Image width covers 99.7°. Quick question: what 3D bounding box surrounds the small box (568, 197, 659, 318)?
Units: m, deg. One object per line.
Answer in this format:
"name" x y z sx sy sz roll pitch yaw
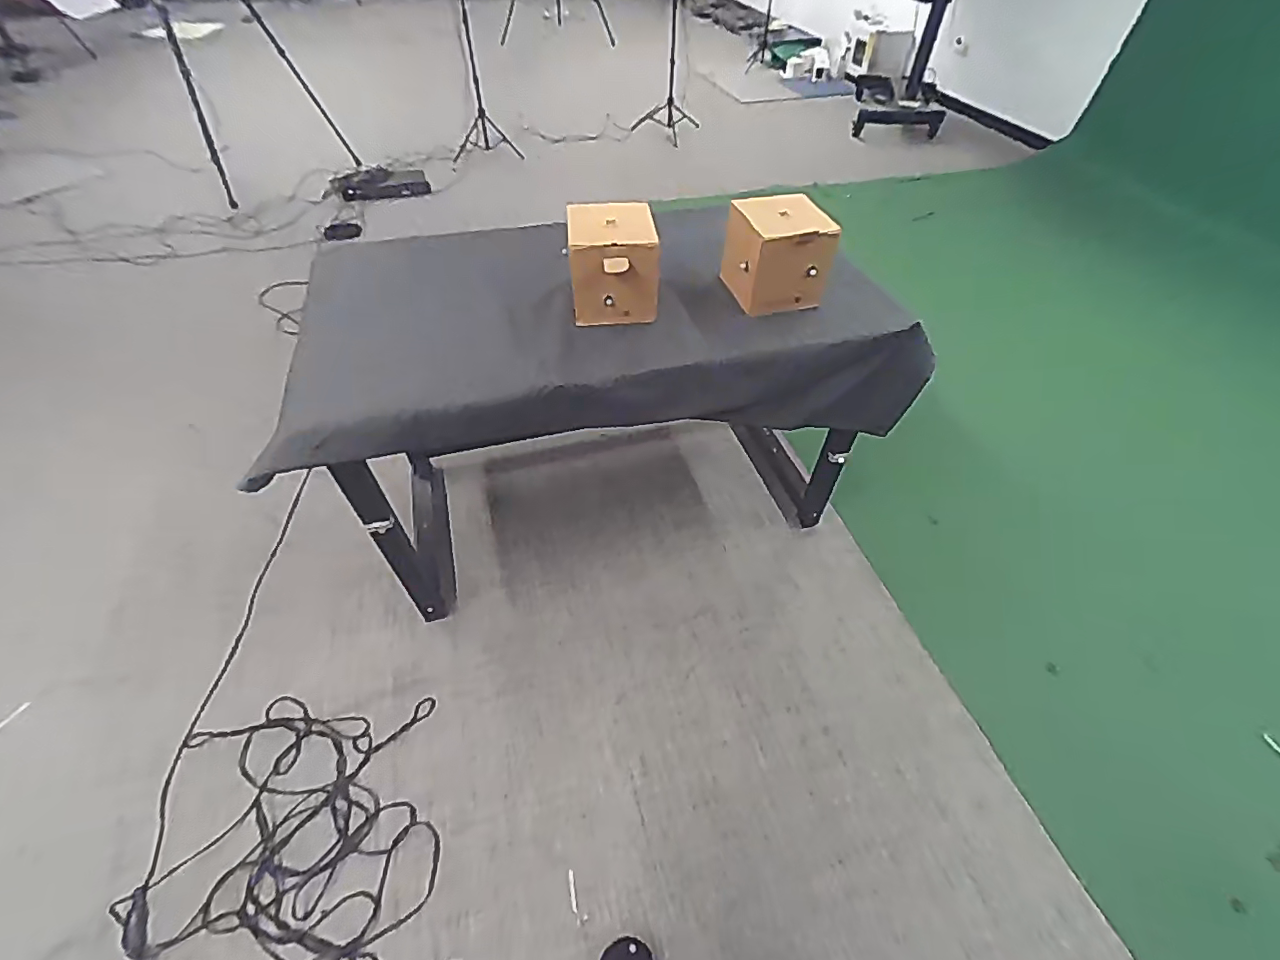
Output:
"small box" -0.058 -0.443 1.079 0.168 0.176 0.179 -4 50 -6

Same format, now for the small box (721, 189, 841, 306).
"small box" 0.280 -0.474 1.116 0.168 0.176 0.179 -10 49 -12
